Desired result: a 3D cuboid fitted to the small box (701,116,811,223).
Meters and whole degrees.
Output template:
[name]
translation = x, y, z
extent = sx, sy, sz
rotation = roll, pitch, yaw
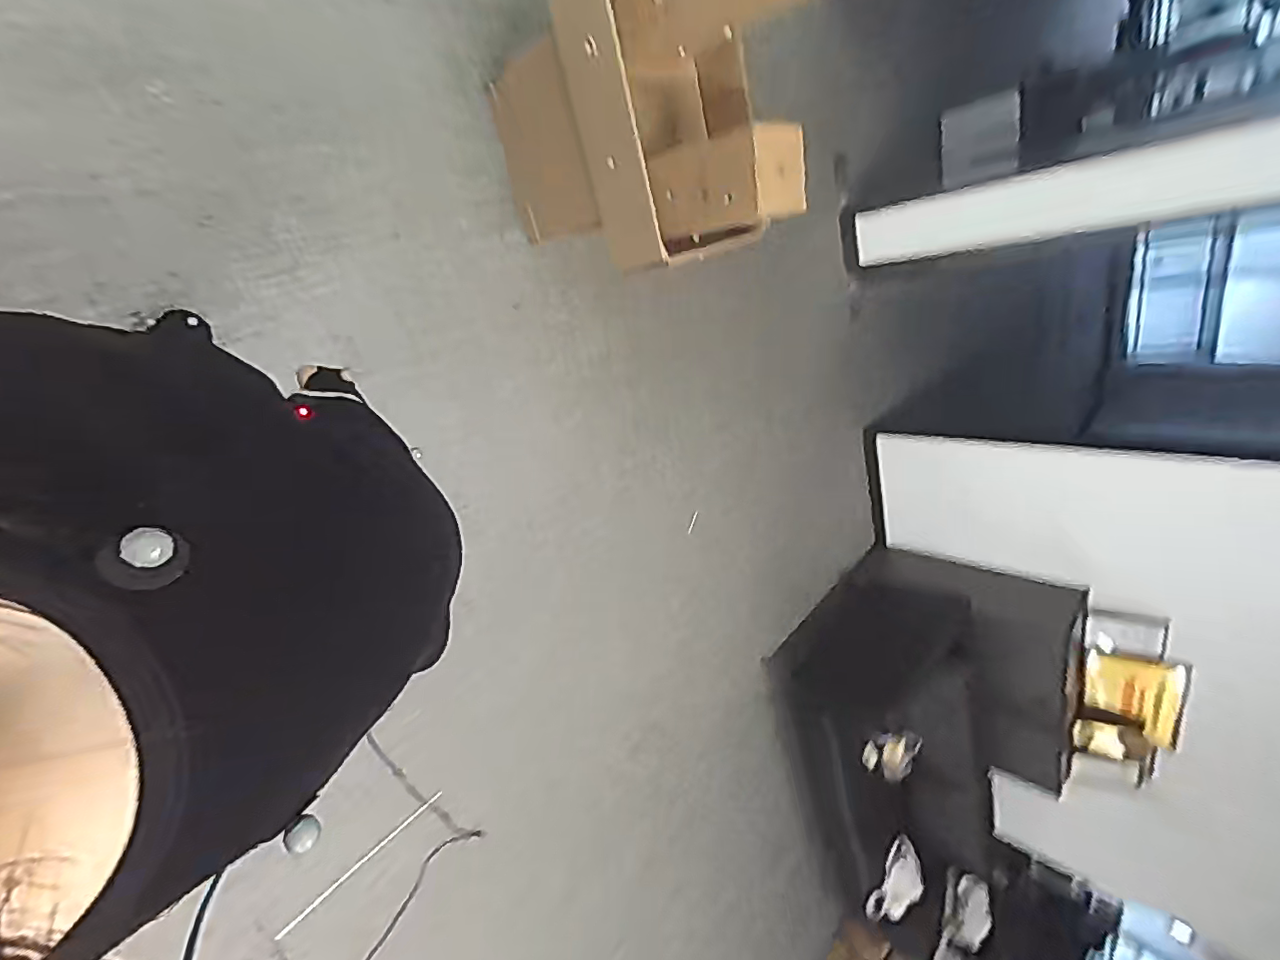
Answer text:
[small box]
translation = 0.246, -0.663, 1.169
extent = 0.179, 0.176, 0.168
rotation = -26, 116, -36
